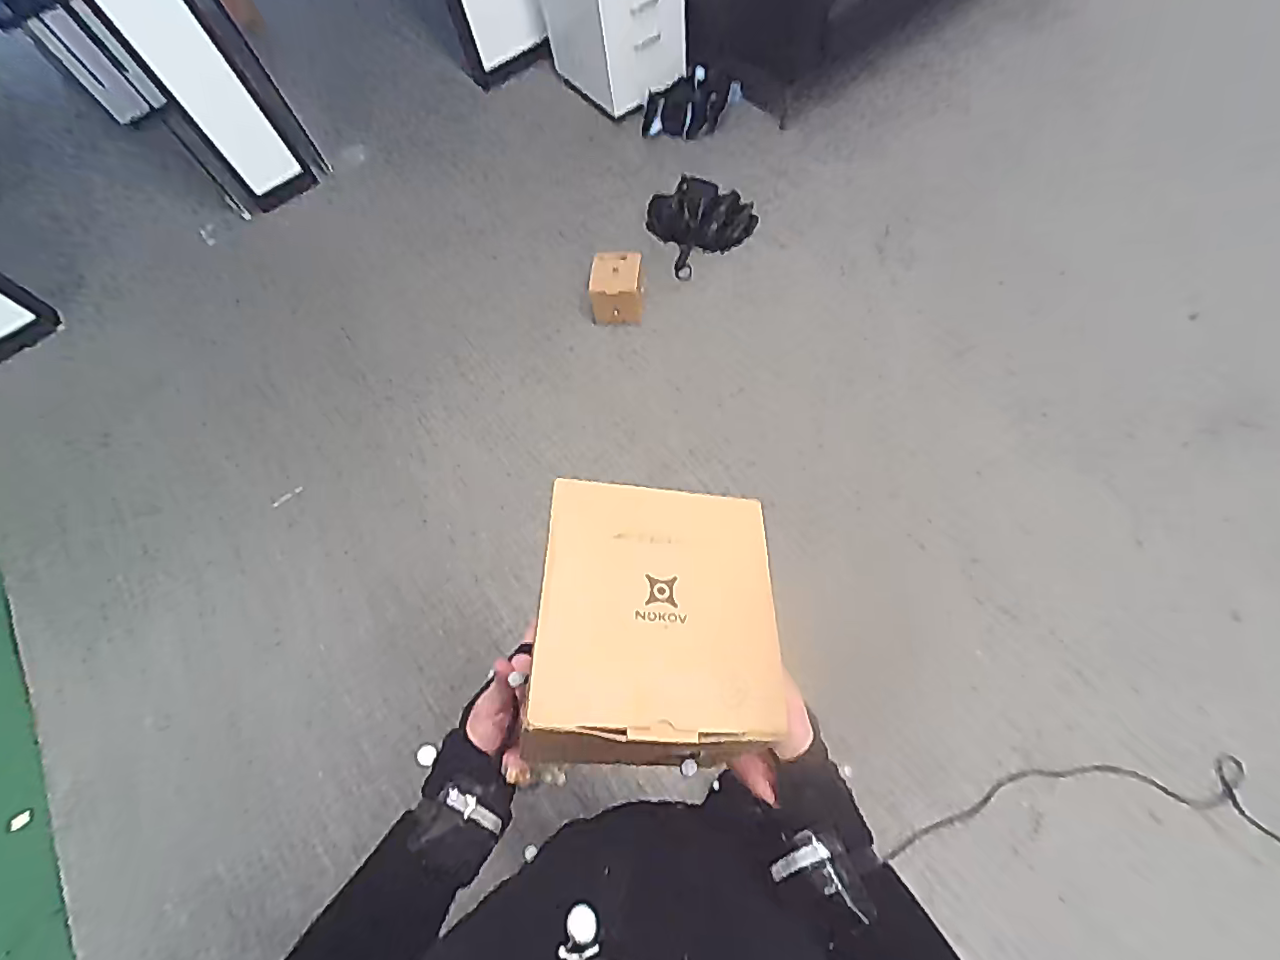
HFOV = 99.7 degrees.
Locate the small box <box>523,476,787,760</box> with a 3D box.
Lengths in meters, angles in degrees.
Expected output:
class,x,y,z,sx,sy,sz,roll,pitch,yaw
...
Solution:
class,x,y,z,sx,sy,sz,roll,pitch,yaw
small box,-0.002,0.121,0.436,0.168,0.176,0.179,7,55,-10
